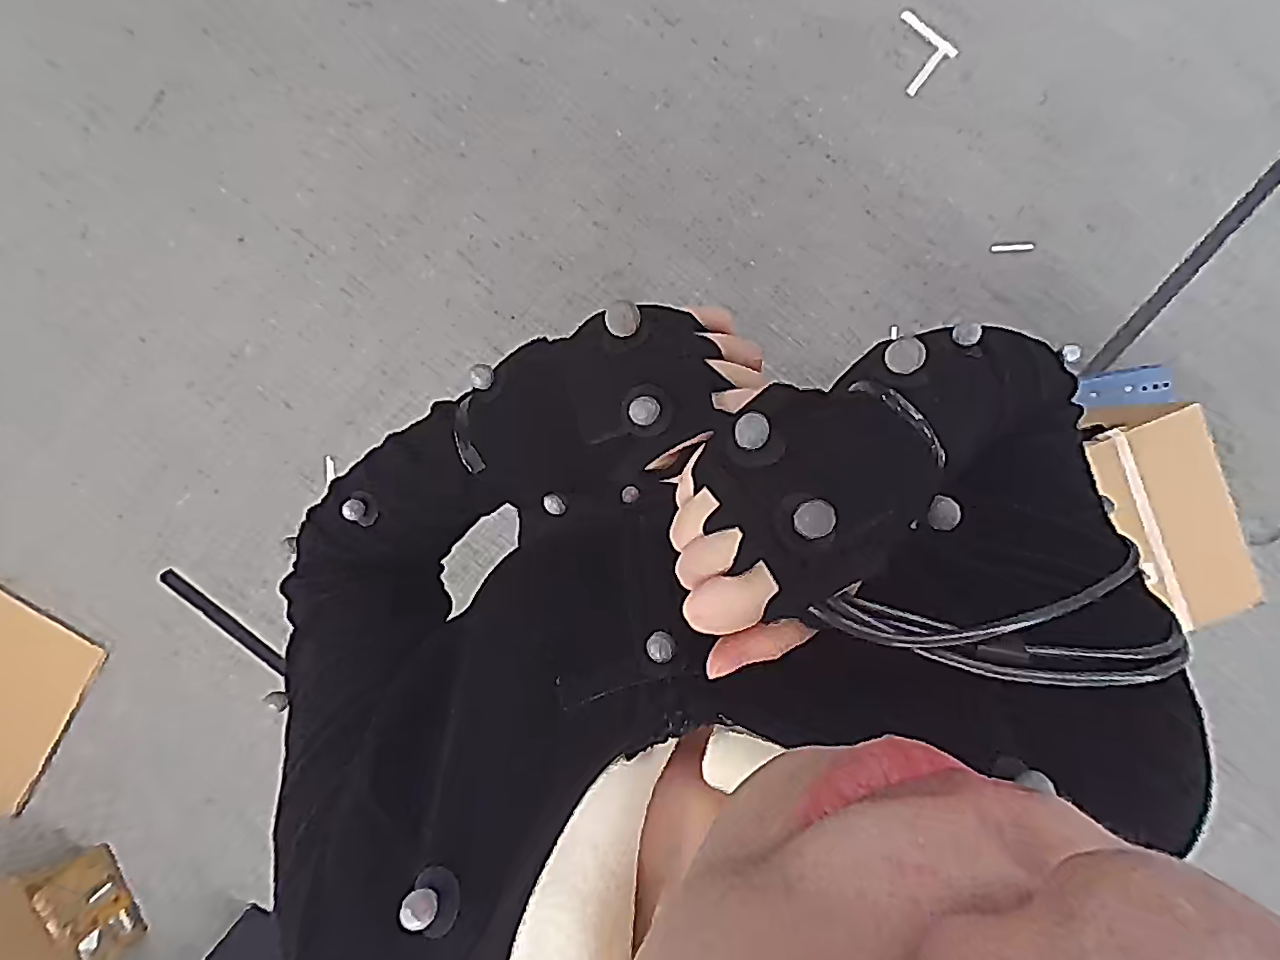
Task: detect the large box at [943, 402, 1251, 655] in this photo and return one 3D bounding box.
[{"bbox_3d":[0.933,0.081,1.153,0.320,0.320,0.408,-22,95,3],"label":"large box"}]
